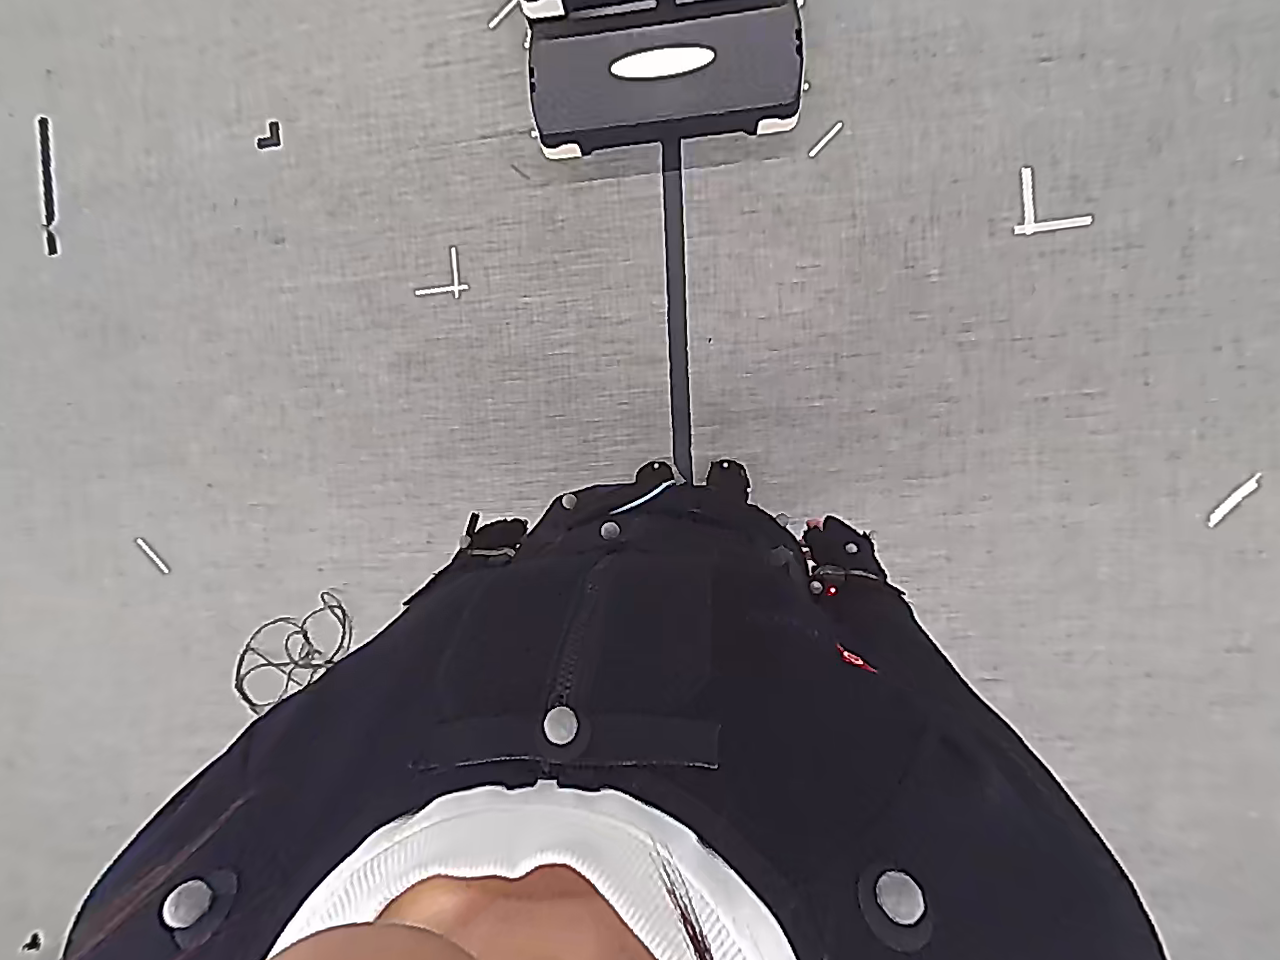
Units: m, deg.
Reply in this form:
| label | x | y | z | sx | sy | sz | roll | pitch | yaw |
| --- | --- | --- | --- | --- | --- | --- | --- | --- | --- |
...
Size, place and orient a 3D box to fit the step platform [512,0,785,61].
| label | x | y | z | sx | sy | sz | roll | pitch | yaw |
| --- | --- | --- | --- | --- | --- | --- | --- | --- | --- |
| step platform | 0.018 | -1.261 | 1.297 | 0.684 | 0.204 | 0.286 | -4 | 93 | 6 |
